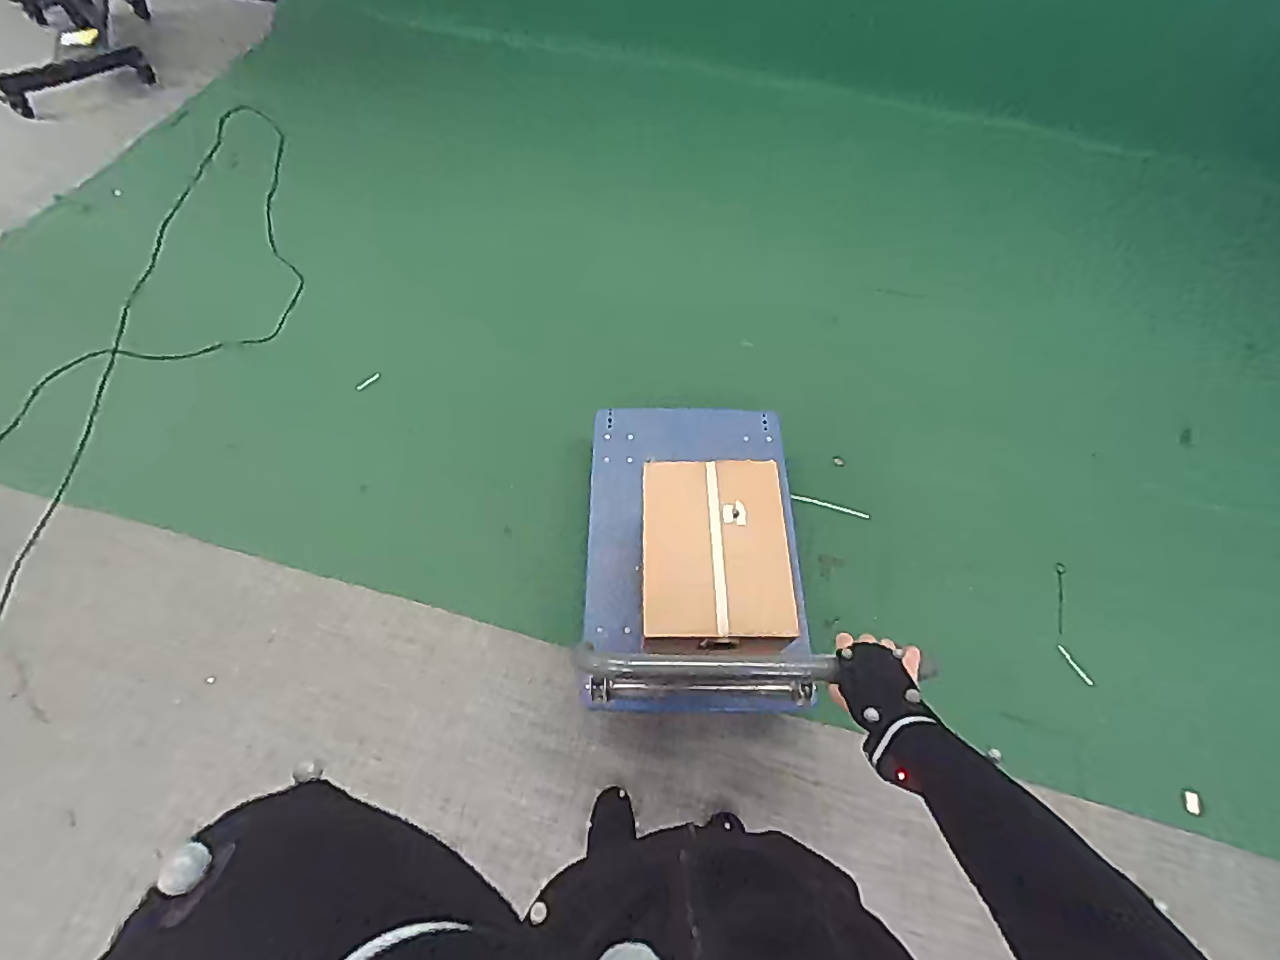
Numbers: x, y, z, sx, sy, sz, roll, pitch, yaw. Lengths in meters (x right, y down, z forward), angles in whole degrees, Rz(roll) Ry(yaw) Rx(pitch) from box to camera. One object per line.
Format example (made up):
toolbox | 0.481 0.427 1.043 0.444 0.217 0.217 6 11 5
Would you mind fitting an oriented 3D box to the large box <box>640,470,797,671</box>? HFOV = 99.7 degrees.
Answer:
large box | 0.161 0.226 1.305 0.320 0.320 0.408 0 61 0
